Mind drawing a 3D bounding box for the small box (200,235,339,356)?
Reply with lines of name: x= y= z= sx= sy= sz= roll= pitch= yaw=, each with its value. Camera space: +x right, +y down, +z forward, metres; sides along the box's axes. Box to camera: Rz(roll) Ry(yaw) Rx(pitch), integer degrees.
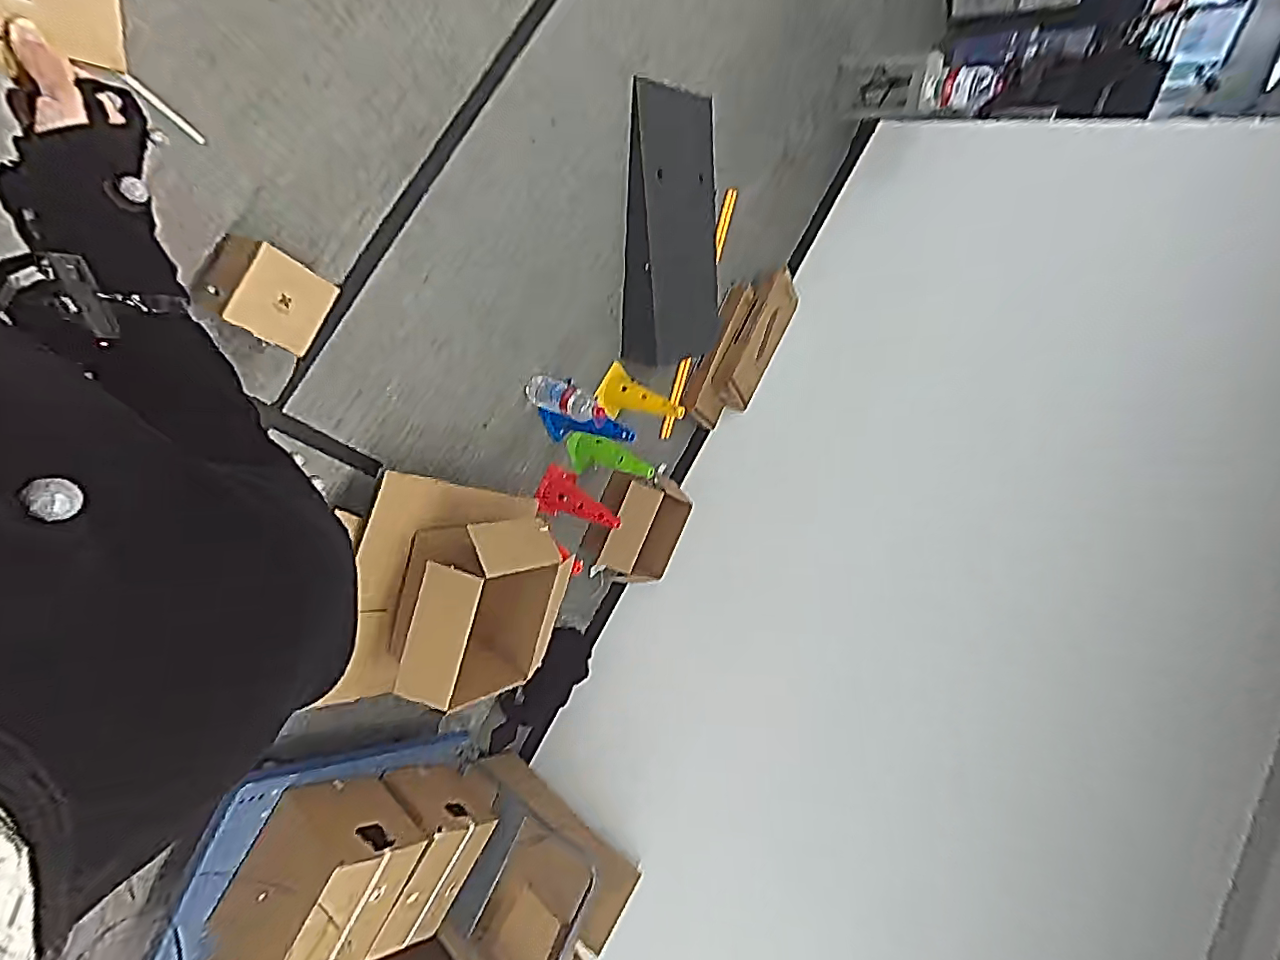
small box: x=-0.799 y=-0.397 z=1.161 sx=0.179 sy=0.176 sz=0.168 roll=-64 pitch=150 yaw=-4
